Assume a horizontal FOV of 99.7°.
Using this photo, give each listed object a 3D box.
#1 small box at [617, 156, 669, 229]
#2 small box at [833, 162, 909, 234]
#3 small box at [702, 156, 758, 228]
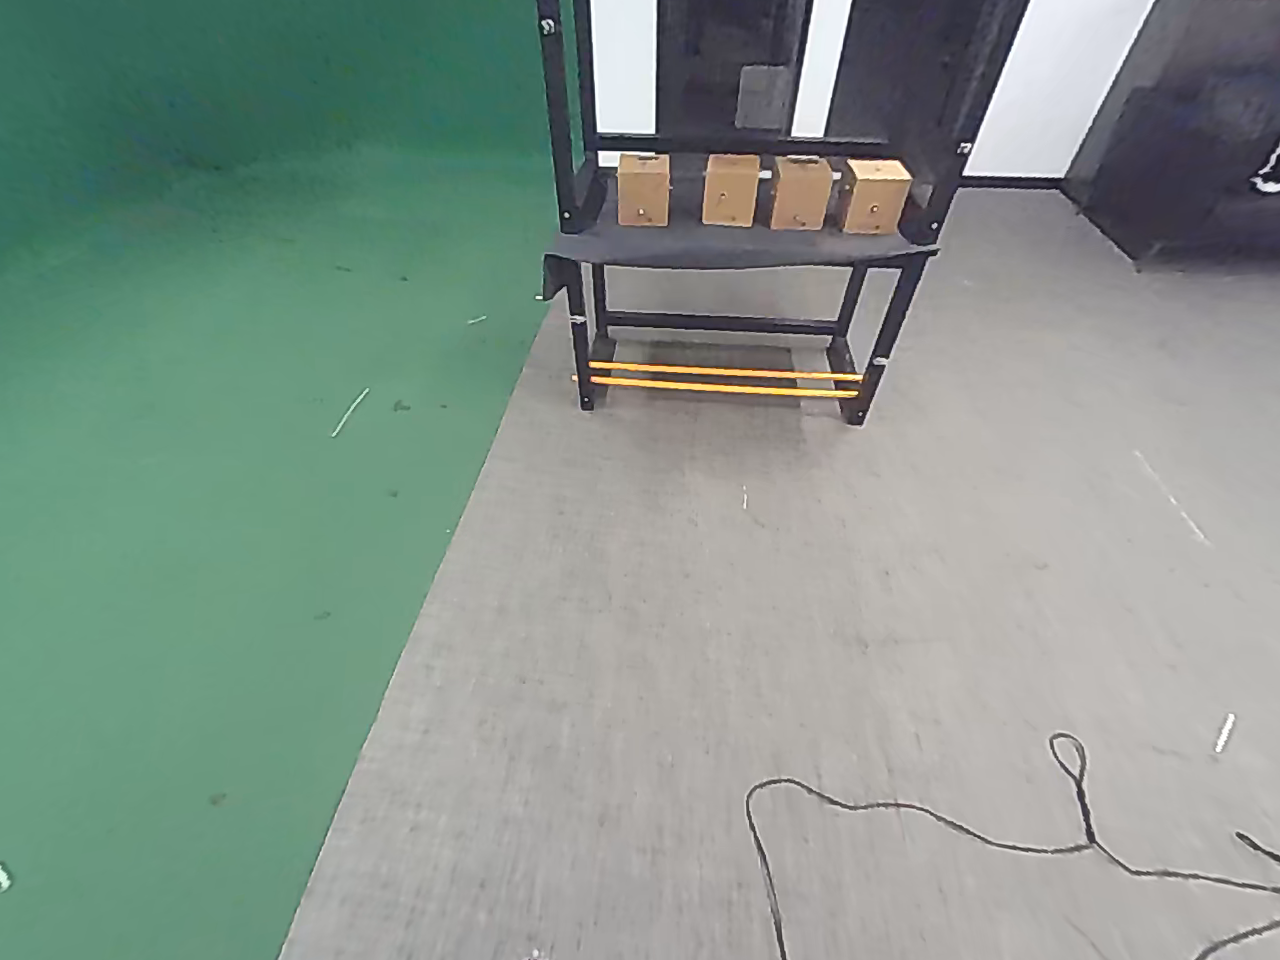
[{"bbox_3d":[0.011,-0.962,1.806,0.168,0.176,0.179,1,48,1],"label":"small box"},{"bbox_3d":[0.743,-0.914,1.755,0.168,0.176,0.179,2,47,2],"label":"small box"},{"bbox_3d":[0.300,-0.962,1.807,0.168,0.176,0.179,6,47,6],"label":"small box"}]
